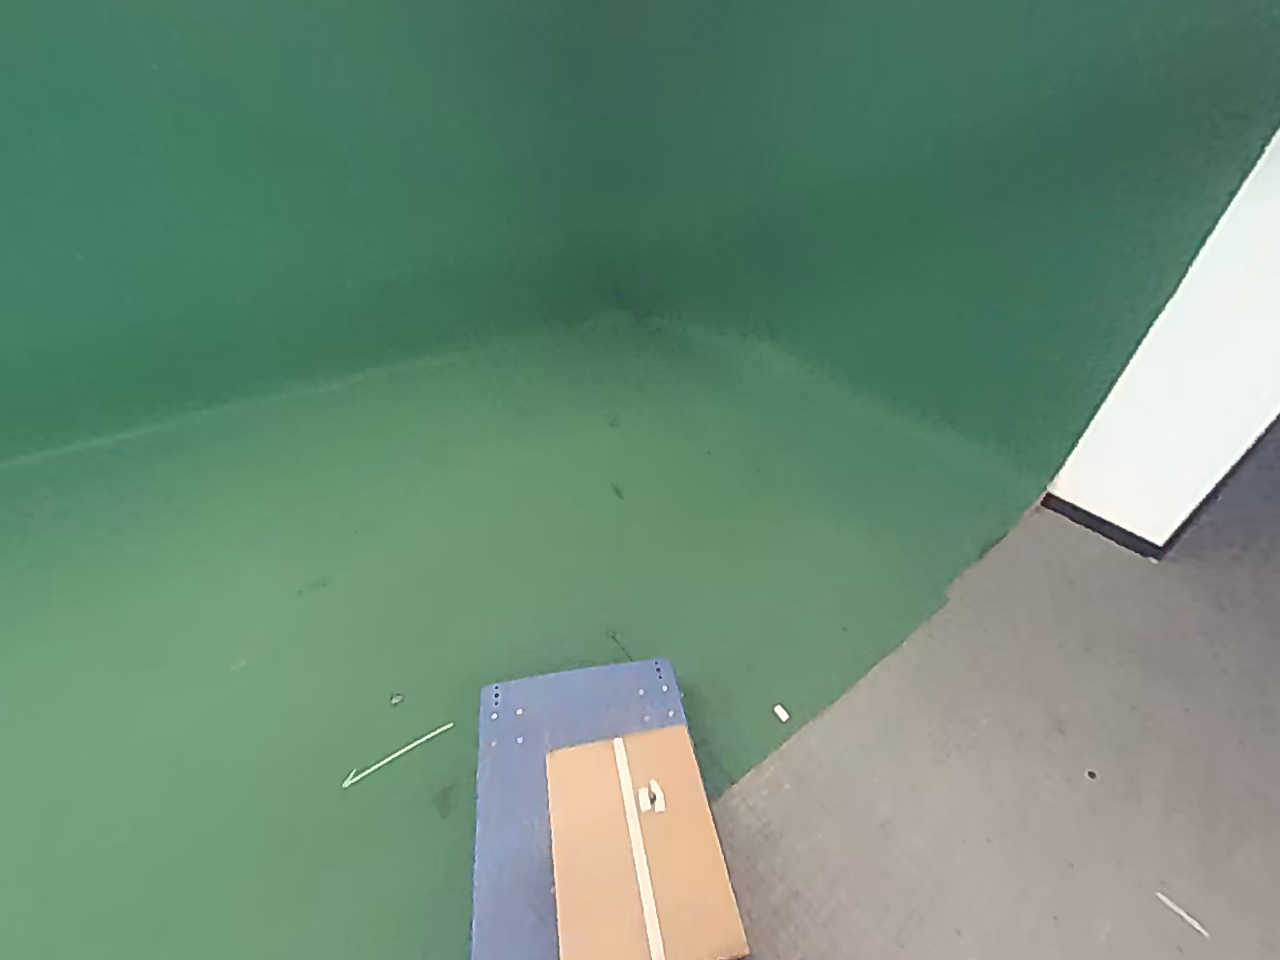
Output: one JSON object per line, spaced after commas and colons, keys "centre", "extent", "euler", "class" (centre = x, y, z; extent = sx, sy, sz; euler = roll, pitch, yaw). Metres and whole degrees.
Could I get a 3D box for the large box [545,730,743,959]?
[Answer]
{"centre": [-0.015, 0.817, 1.132], "extent": [0.320, 0.320, 0.408], "euler": [-6, 38, -11], "class": "large box"}
